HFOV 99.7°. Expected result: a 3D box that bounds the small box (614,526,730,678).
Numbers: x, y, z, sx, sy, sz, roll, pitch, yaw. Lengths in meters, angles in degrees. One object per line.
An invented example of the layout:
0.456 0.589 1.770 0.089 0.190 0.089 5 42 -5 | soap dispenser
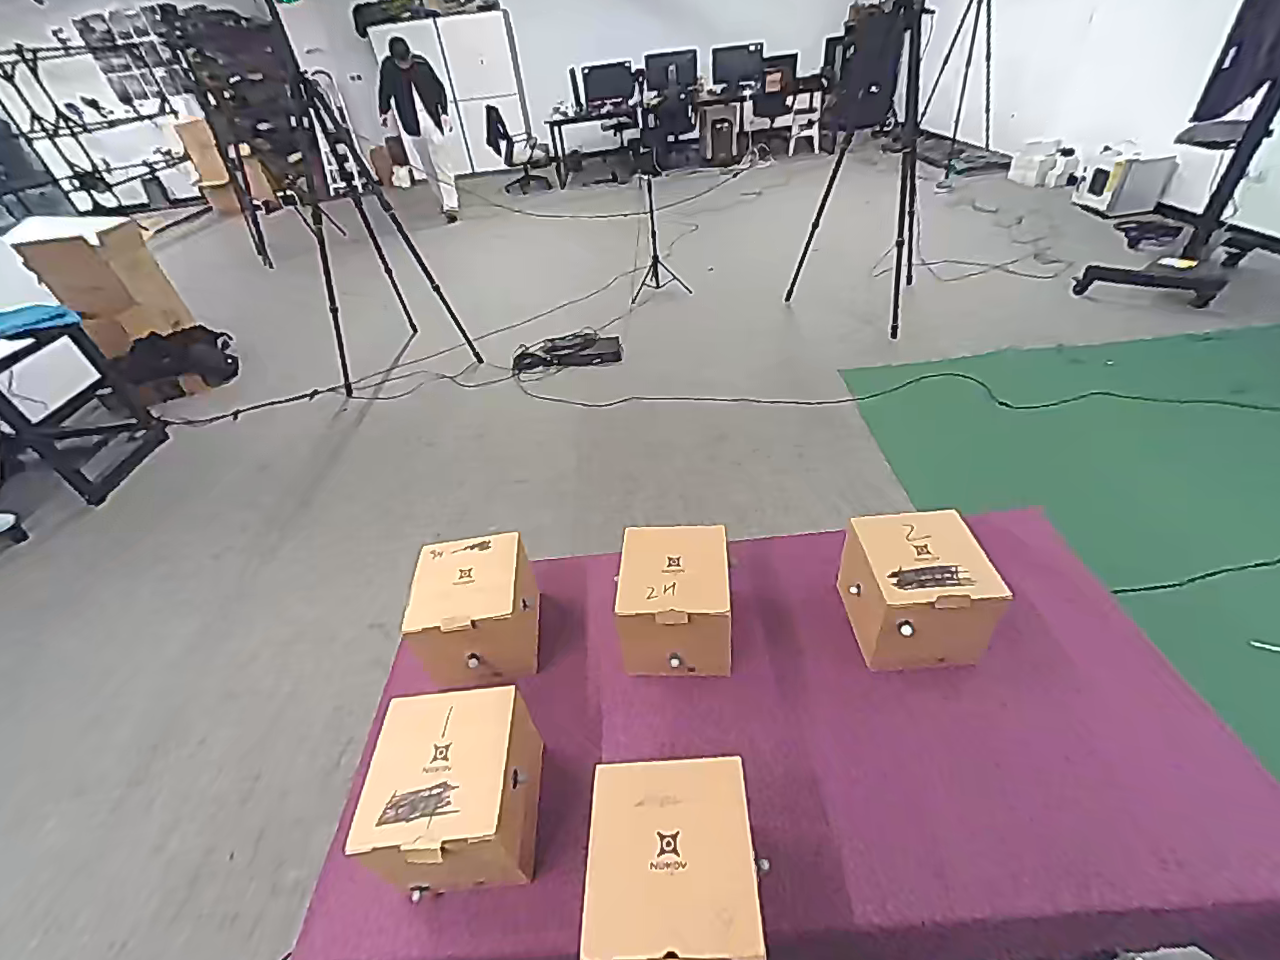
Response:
0.059 0.194 0.874 0.168 0.176 0.179 -2 40 8 | small box

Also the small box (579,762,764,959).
0.042 0.433 0.582 0.168 0.176 0.179 -5 36 7 | small box

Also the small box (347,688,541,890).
-0.228 0.394 0.686 0.168 0.176 0.179 -7 38 1 | small box

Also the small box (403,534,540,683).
-0.266 0.220 0.900 0.168 0.176 0.179 -9 41 -1 | small box
